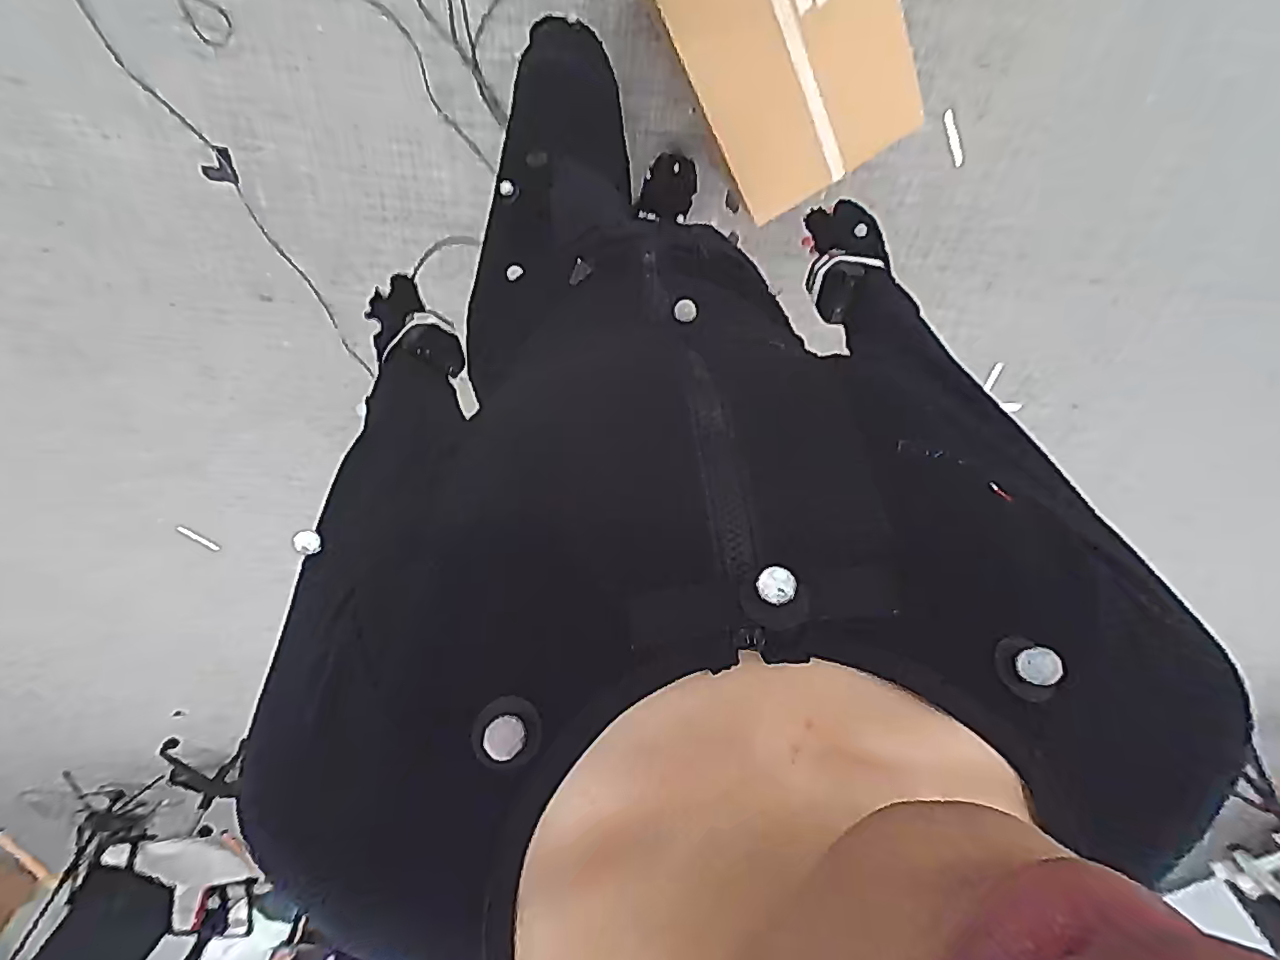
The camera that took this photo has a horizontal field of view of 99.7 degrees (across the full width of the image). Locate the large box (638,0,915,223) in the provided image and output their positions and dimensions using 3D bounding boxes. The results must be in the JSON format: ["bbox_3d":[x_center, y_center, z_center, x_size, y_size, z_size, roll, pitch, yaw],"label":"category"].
[{"bbox_3d":[0.229,-0.760,0.968,0.320,0.320,0.408,-27,126,18],"label":"large box"}]
